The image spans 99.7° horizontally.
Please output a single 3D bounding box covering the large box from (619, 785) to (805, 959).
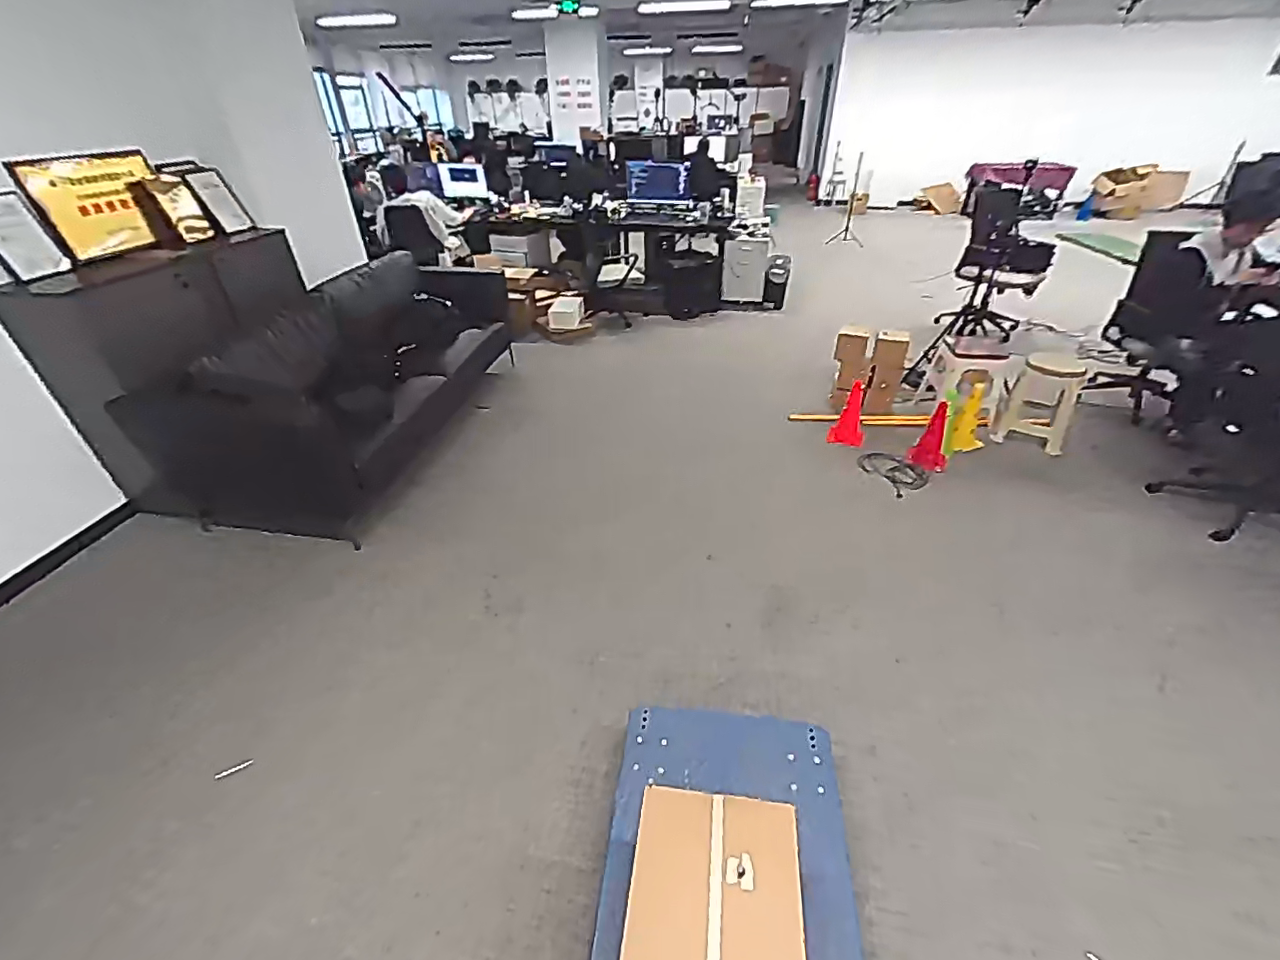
[{"bbox_3d":[0.137,0.893,1.056,0.320,0.320,0.408,4,34,7],"label":"large box"}]
